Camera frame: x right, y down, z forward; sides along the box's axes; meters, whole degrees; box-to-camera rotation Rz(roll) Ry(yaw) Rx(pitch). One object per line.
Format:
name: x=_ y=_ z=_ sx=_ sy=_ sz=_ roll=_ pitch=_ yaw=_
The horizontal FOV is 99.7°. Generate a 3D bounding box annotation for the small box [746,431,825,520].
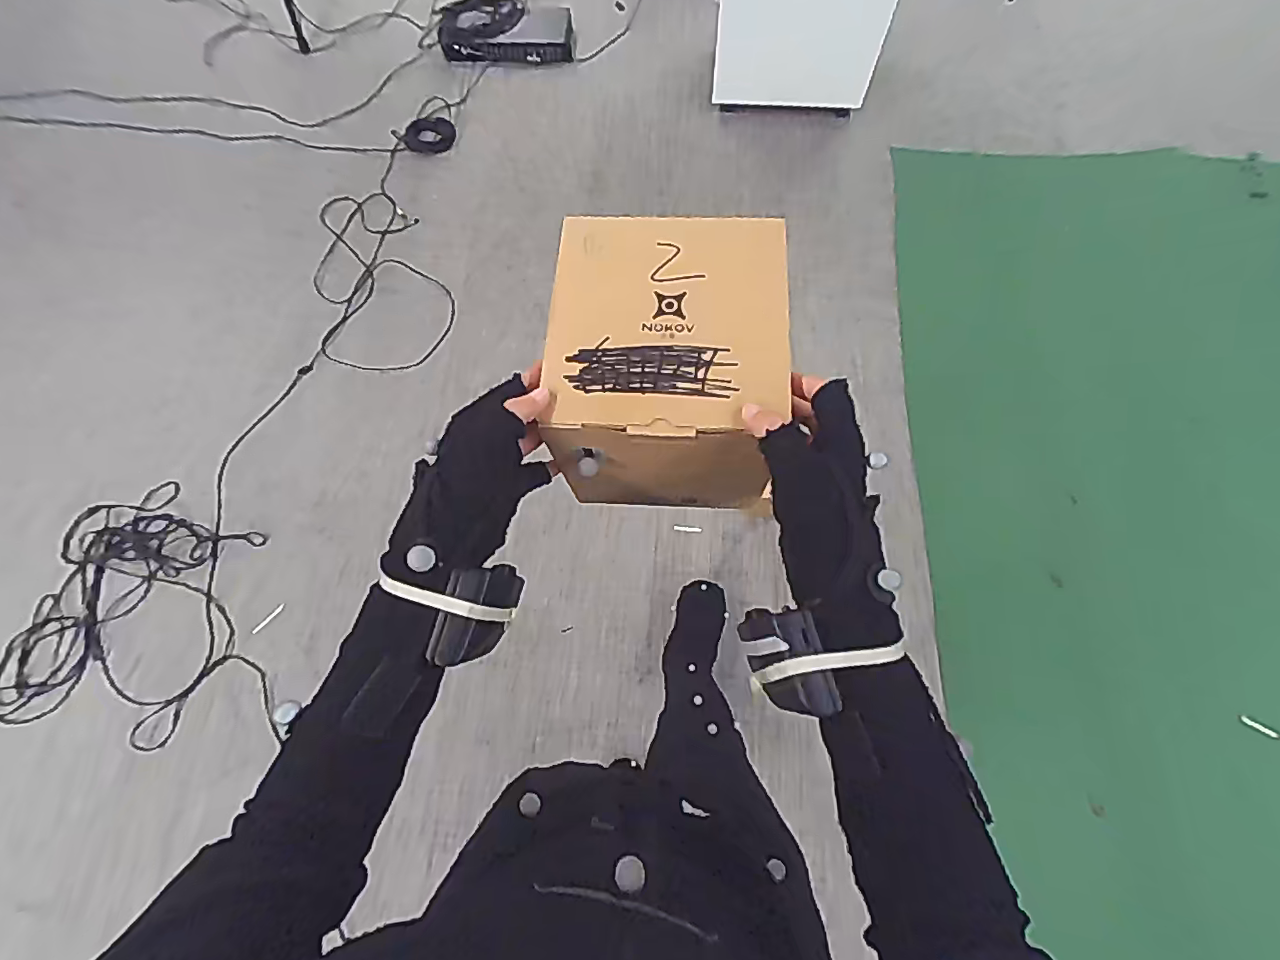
small box: x=0.366 y=-0.007 z=1.385 sx=0.168 sy=0.176 sz=0.179 roll=3 pitch=71 yaw=4
